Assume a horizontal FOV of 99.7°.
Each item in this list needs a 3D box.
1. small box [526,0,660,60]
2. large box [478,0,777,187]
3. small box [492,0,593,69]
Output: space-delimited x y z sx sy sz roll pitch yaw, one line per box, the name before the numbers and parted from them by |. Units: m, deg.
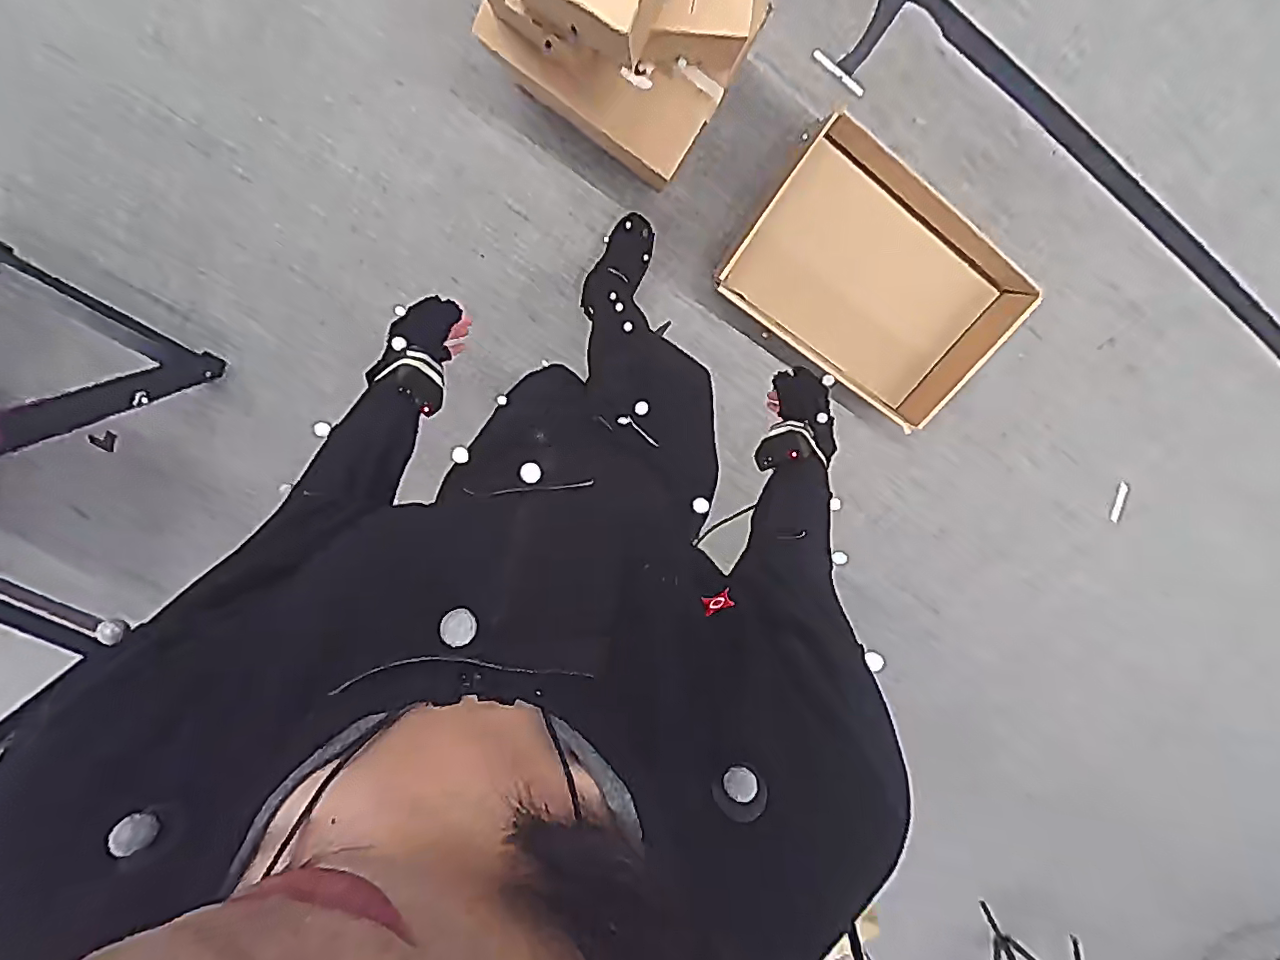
small box | -0.050 -0.649 0.650 0.179 0.176 0.168 26 113 -10
large box | -0.026 -0.821 1.018 0.408 0.320 0.320 30 112 -13
small box | -0.121 -0.749 0.785 0.168 0.176 0.179 29 111 -15
